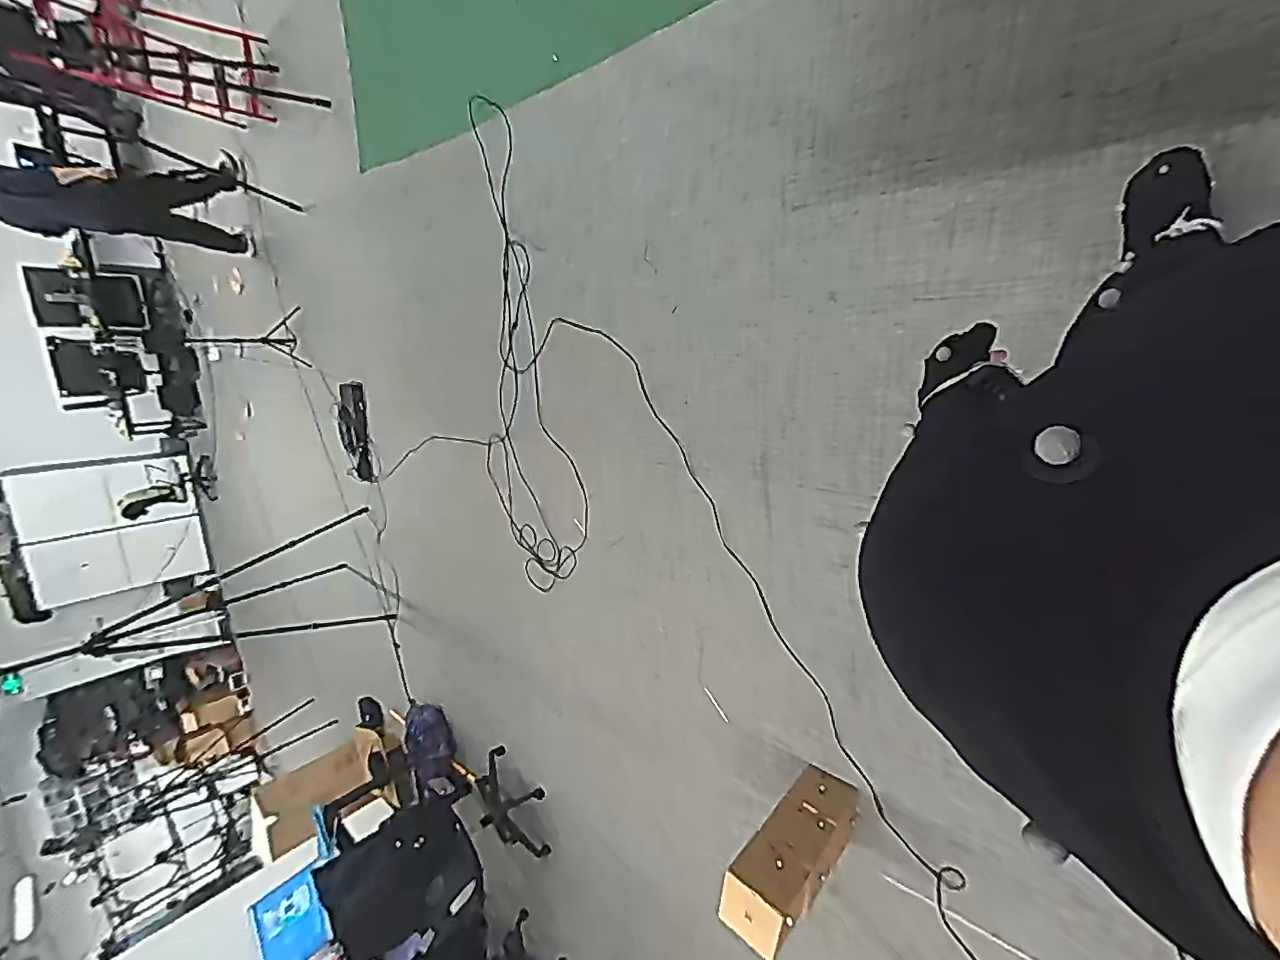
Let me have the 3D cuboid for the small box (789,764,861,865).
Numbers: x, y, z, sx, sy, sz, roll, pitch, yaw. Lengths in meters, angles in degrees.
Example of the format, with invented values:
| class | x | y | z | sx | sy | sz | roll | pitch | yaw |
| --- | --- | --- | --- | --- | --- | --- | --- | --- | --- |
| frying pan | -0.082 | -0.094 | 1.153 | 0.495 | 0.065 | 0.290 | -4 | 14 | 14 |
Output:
| class | x | y | z | sx | sy | sz | roll | pitch | yaw |
| --- | --- | --- | --- | --- | --- | --- | --- | --- | --- |
| small box | 0.577 | 1.033 | 1.690 | 0.168 | 0.176 | 0.179 | 10 | 106 | 43 |

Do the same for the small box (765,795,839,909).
| class | x | y | z | sx | sy | sz | roll | pitch | yaw |
| --- | --- | --- | --- | --- | --- | --- | --- | --- | --- |
| small box | 0.464 | 1.069 | 1.572 | 0.168 | 0.176 | 0.179 | 13 | 111 | 39 |

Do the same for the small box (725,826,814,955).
| class | x | y | z | sx | sy | sz | roll | pitch | yaw |
| --- | --- | --- | --- | --- | --- | --- | --- | --- | --- |
| small box | 0.351 | 1.097 | 1.459 | 0.168 | 0.176 | 0.179 | 19 | 113 | 38 |
